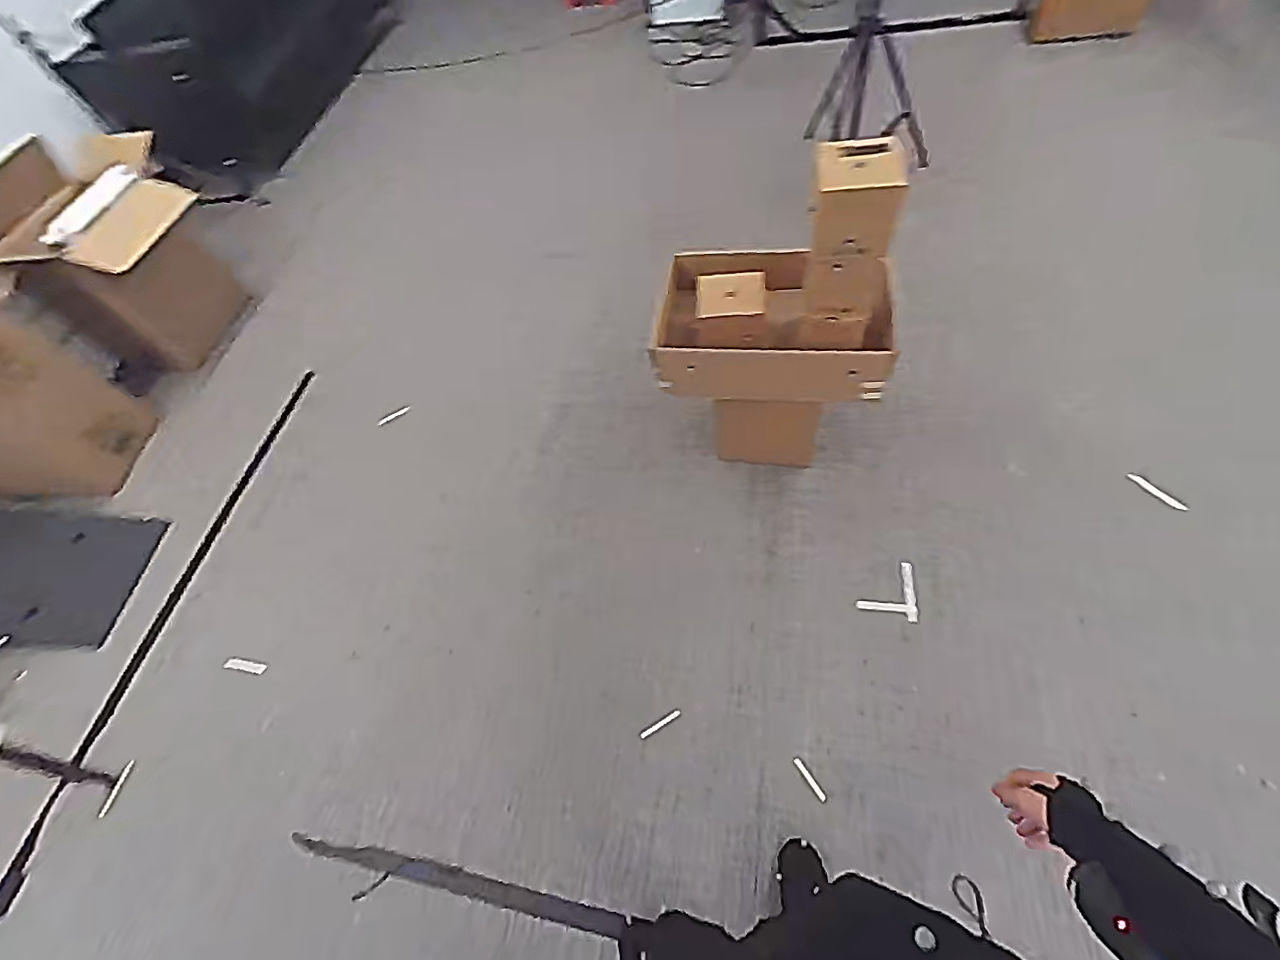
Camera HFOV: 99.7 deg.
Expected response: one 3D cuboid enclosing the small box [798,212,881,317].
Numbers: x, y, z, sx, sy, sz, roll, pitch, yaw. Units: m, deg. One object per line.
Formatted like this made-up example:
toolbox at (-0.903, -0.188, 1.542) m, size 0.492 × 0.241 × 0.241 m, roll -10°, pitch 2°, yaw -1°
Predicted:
small box at (0.478, -0.520, 1.307) m, size 0.168 × 0.176 × 0.179 m, roll 6°, pitch 60°, yaw 14°
